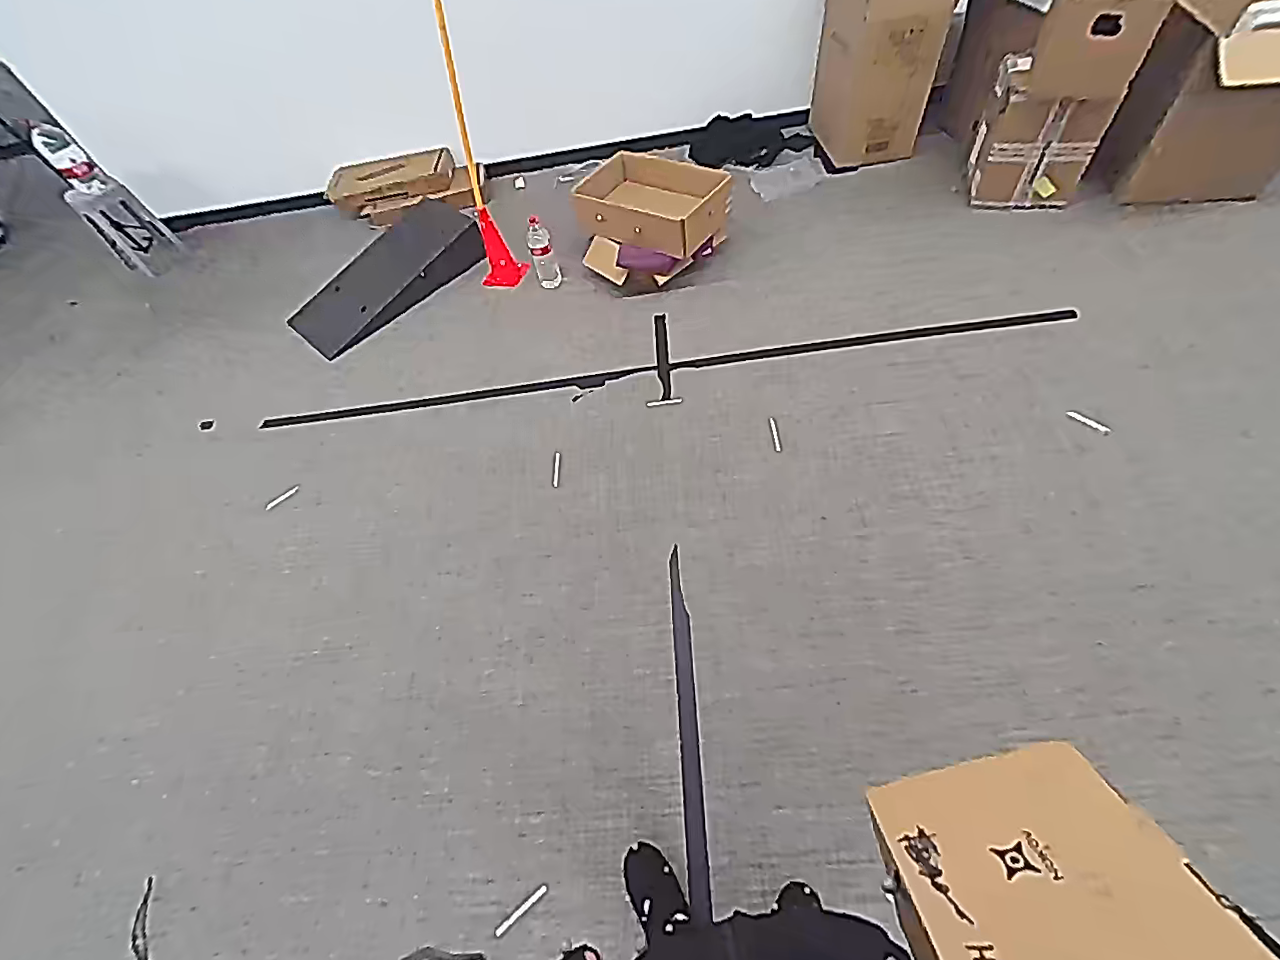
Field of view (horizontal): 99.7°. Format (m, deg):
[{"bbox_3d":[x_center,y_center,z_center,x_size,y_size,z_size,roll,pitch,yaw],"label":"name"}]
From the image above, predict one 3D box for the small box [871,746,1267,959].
[{"bbox_3d":[0.307,0.349,0.418,0.179,0.176,0.168,-17,17,6],"label":"small box"}]
